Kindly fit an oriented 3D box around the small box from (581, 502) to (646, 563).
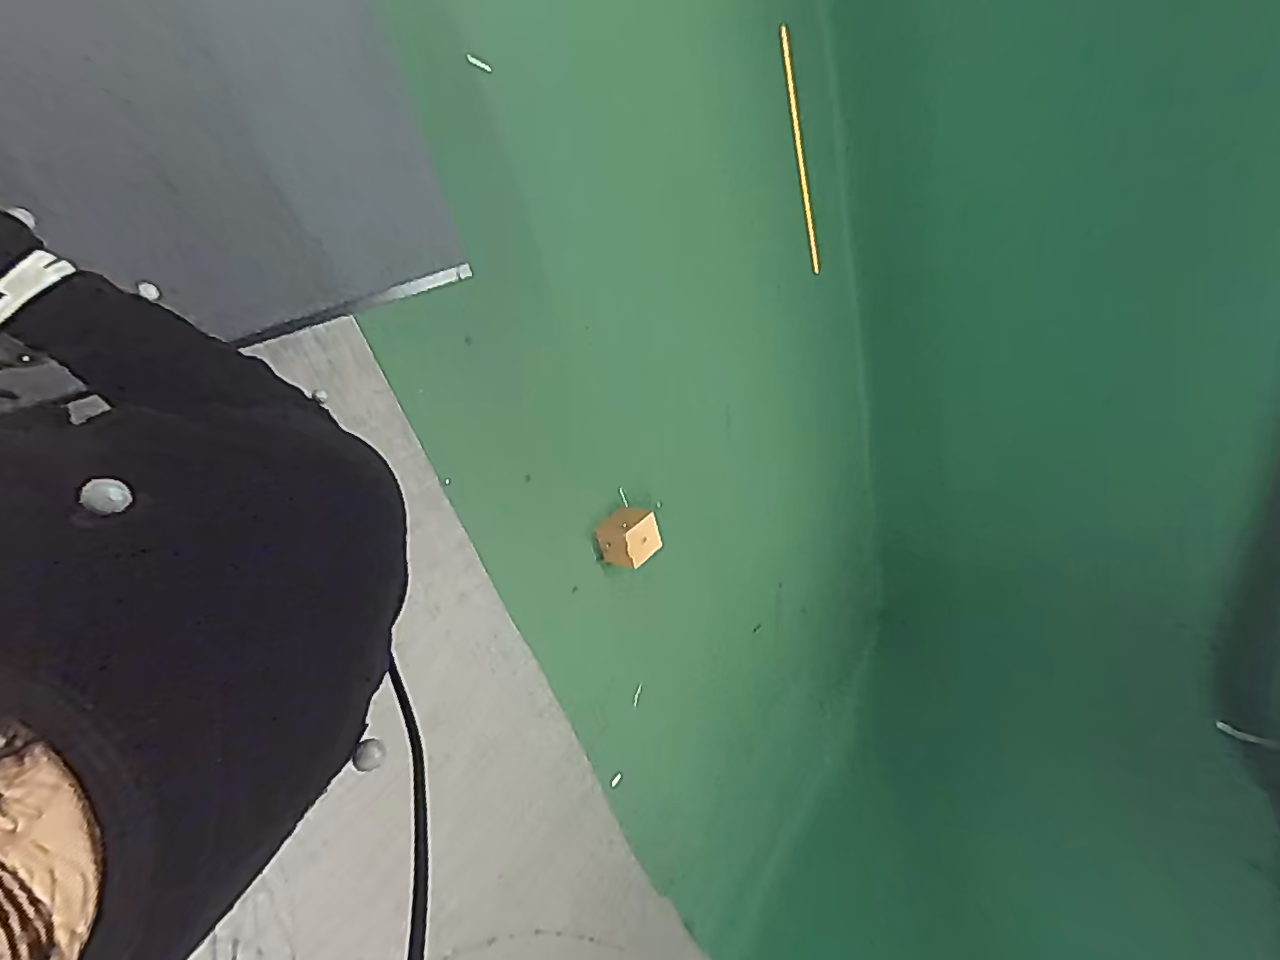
[{"bbox_3d":[-0.106,0.204,2.171,0.179,0.176,0.168,-37,123,-39],"label":"small box"}]
